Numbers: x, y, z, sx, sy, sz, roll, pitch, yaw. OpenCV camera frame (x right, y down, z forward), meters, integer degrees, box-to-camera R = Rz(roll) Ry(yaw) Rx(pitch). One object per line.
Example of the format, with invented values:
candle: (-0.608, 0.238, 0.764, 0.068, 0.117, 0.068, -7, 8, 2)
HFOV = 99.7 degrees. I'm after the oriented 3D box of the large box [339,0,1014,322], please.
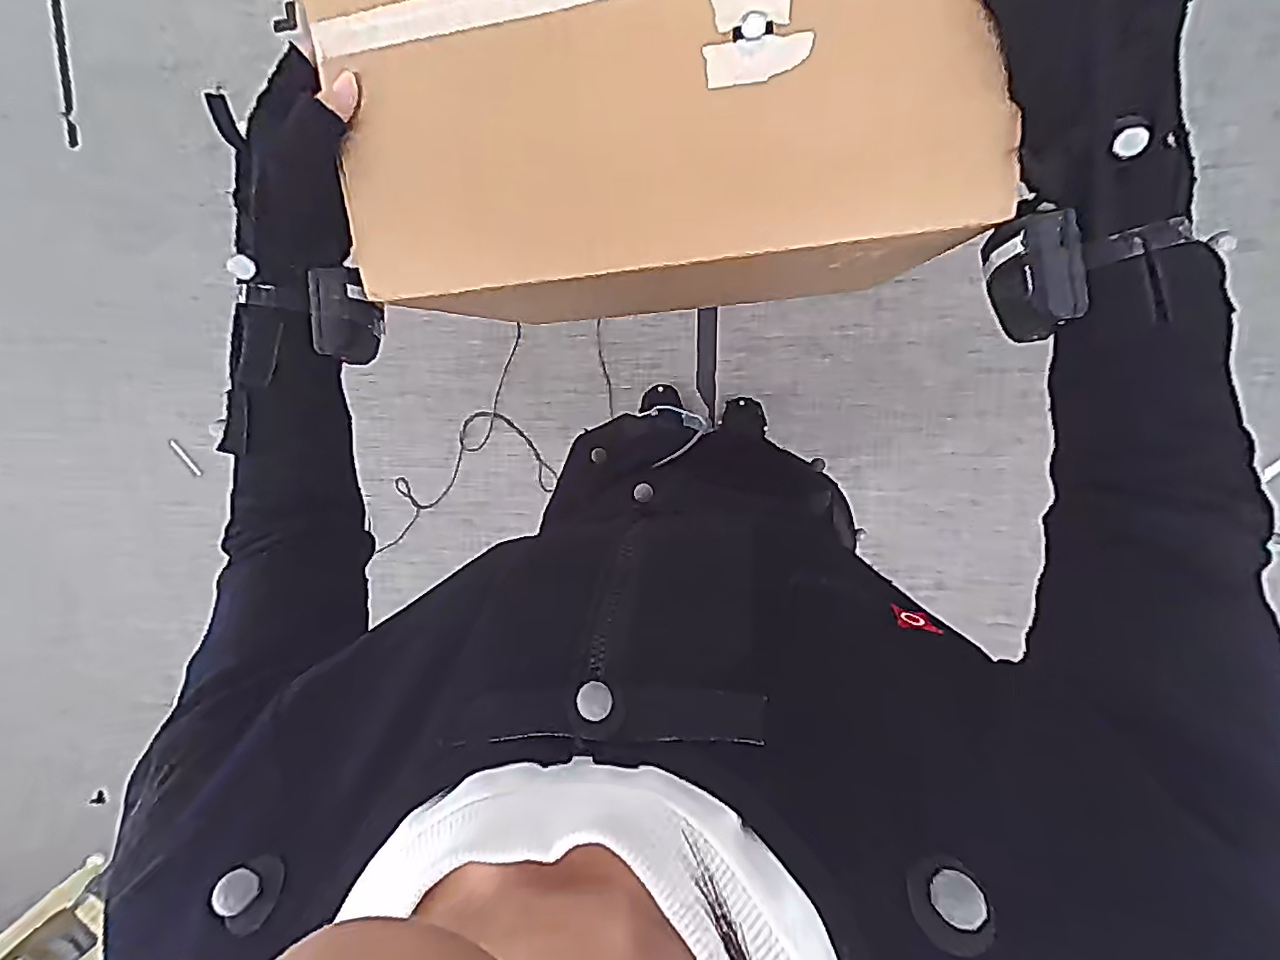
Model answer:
large box: (0.026, -0.325, 0.461, 0.408, 0.320, 0.320, -4, 103, 10)
